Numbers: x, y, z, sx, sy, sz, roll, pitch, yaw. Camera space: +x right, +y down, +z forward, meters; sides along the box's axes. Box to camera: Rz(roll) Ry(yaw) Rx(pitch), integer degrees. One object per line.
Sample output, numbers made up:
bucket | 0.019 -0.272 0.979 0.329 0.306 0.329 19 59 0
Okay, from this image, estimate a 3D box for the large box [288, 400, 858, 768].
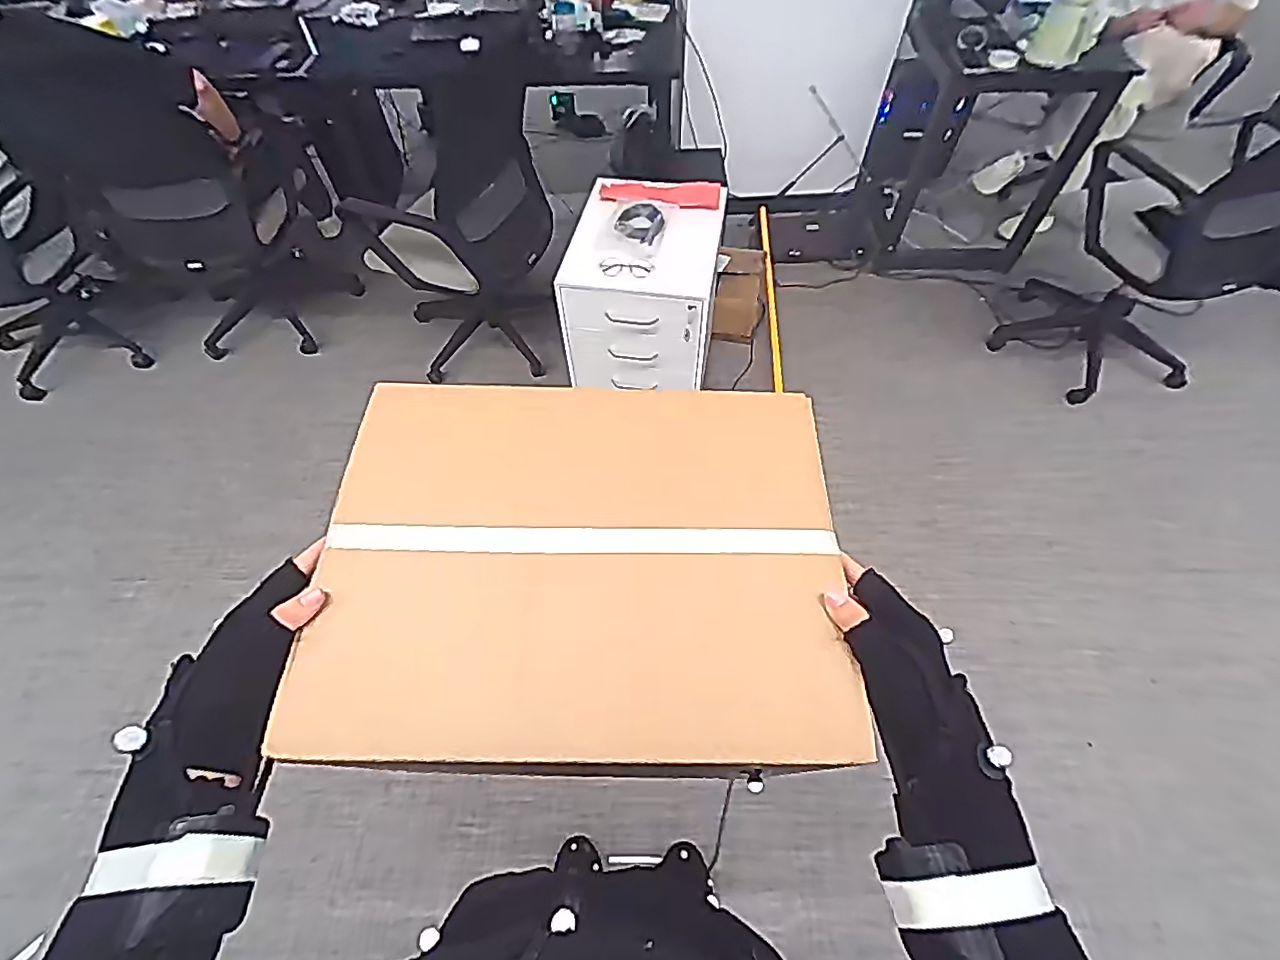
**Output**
large box | -0.046 0.130 0.574 0.408 0.320 0.320 1 60 -1
